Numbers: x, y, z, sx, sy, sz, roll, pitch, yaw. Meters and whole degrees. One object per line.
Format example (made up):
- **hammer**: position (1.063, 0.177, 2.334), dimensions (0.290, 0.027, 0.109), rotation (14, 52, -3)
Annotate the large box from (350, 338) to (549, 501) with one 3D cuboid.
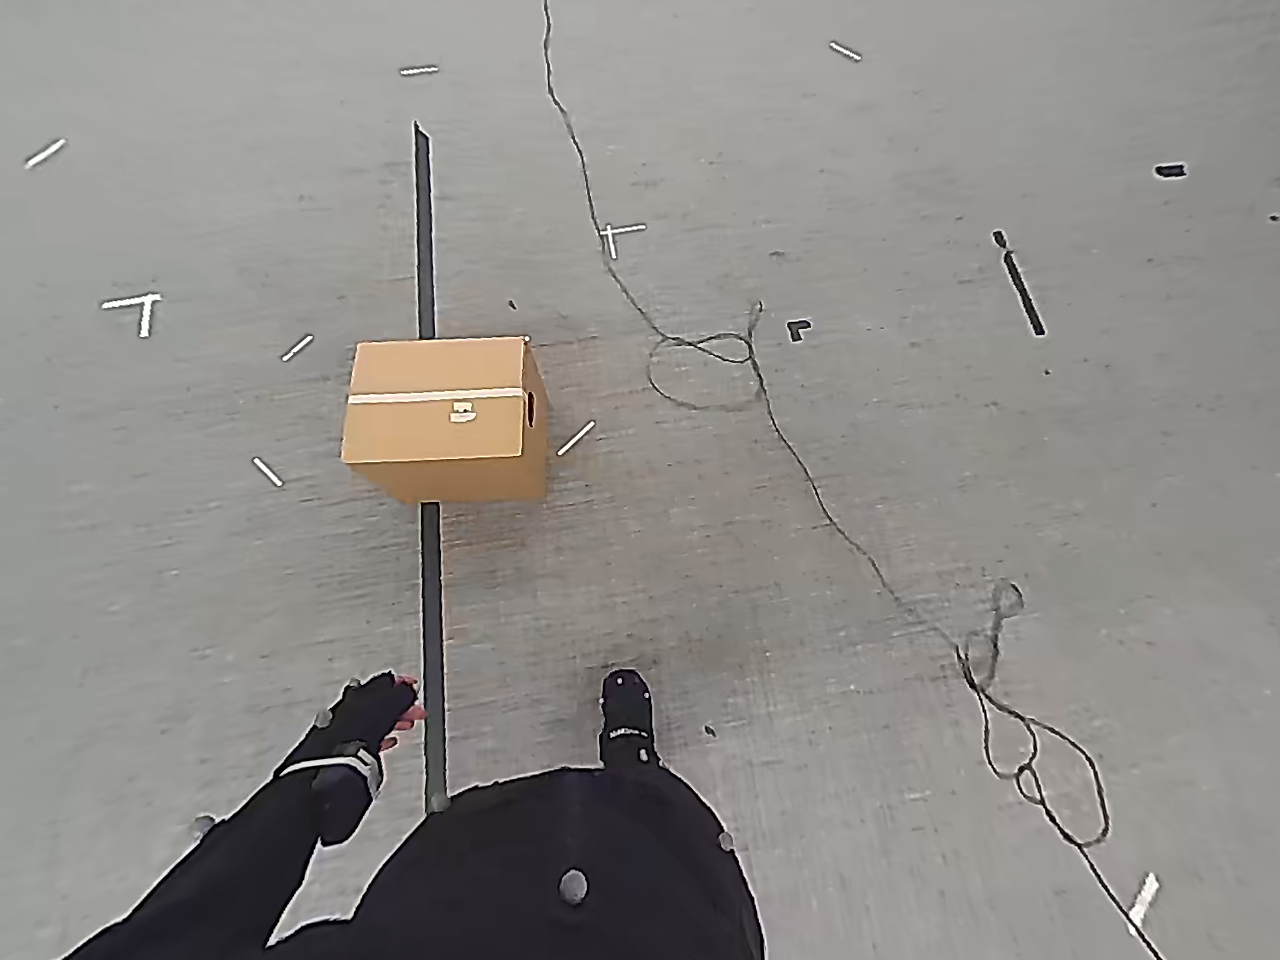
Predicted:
- **large box**: position (-0.460, -0.142, 1.399), dimensions (0.408, 0.320, 0.320), rotation (-2, 71, -1)
